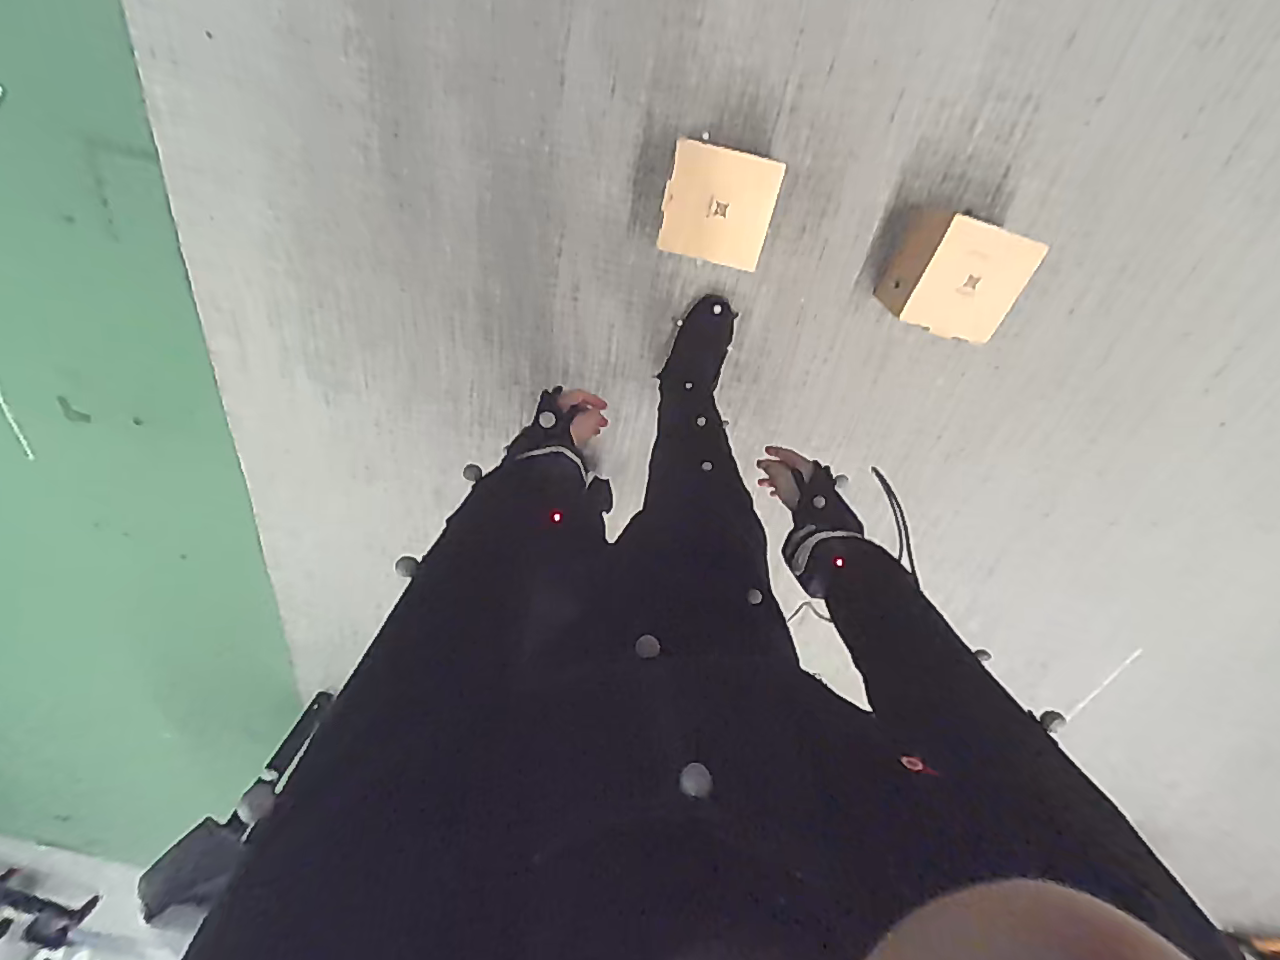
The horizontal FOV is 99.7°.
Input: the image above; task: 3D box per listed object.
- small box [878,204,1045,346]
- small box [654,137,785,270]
[{"bbox_3d":[0.547,-0.366,0.955,0.168,0.176,0.179,16,122,-4],"label":"small box"},{"bbox_3d":[0.132,-0.483,0.936,0.179,0.176,0.168,13,123,0],"label":"small box"}]
